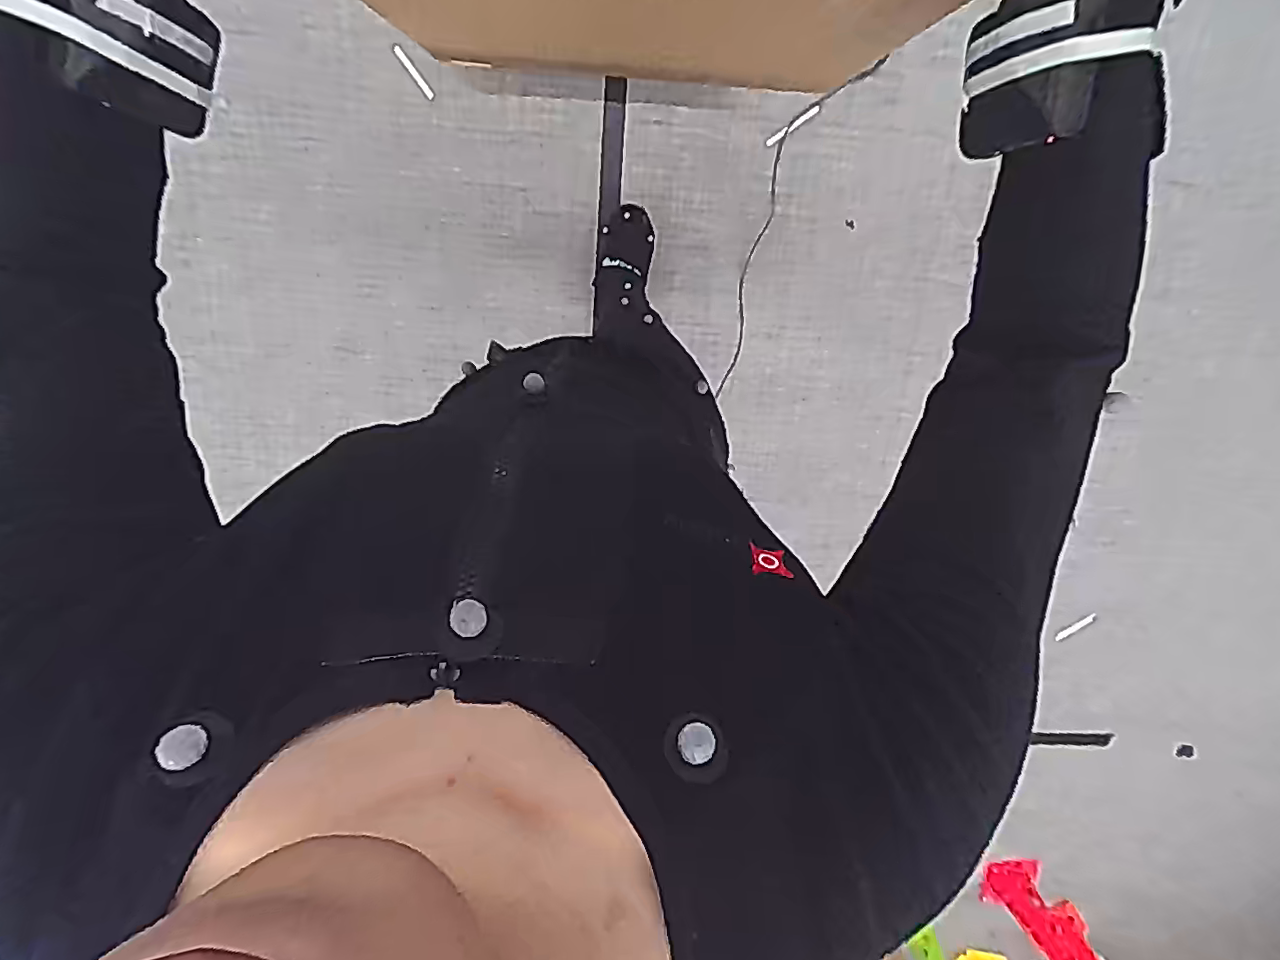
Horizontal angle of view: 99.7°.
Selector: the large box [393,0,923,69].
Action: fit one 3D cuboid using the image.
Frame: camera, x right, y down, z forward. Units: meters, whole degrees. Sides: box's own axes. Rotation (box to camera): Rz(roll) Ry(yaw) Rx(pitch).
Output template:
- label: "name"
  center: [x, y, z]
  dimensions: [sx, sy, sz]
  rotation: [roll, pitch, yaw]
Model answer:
- label: "large box"
  center: [0.009, -0.492, 0.342]
  dimensions: [0.408, 0.320, 0.320]
  rotation: [2, 117, -2]
